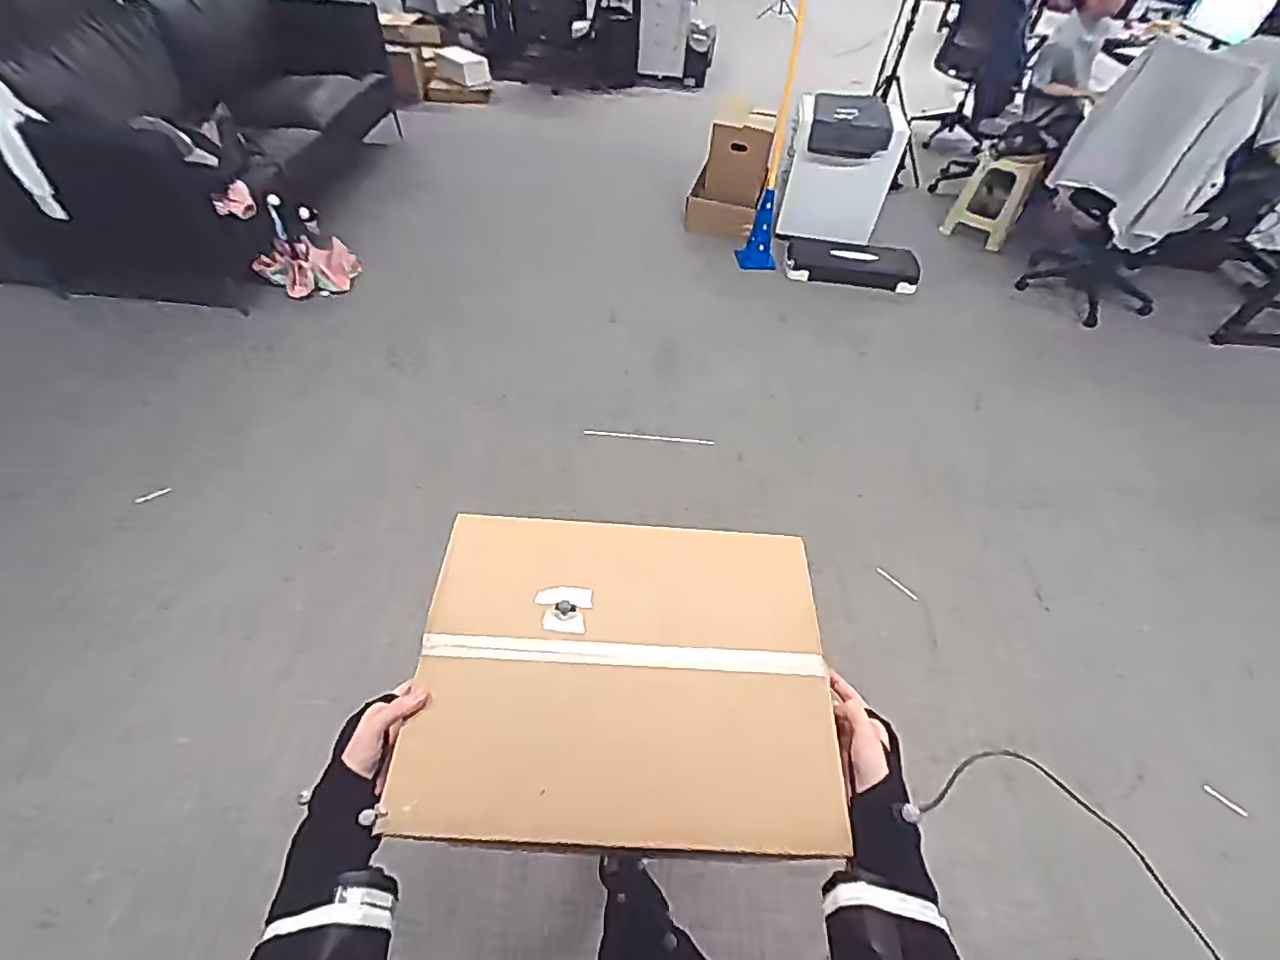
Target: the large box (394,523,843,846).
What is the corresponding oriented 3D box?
[{"bbox_3d":[-0.019,0.270,0.680,0.408,0.320,0.320,3,53,-1],"label":"large box"}]
